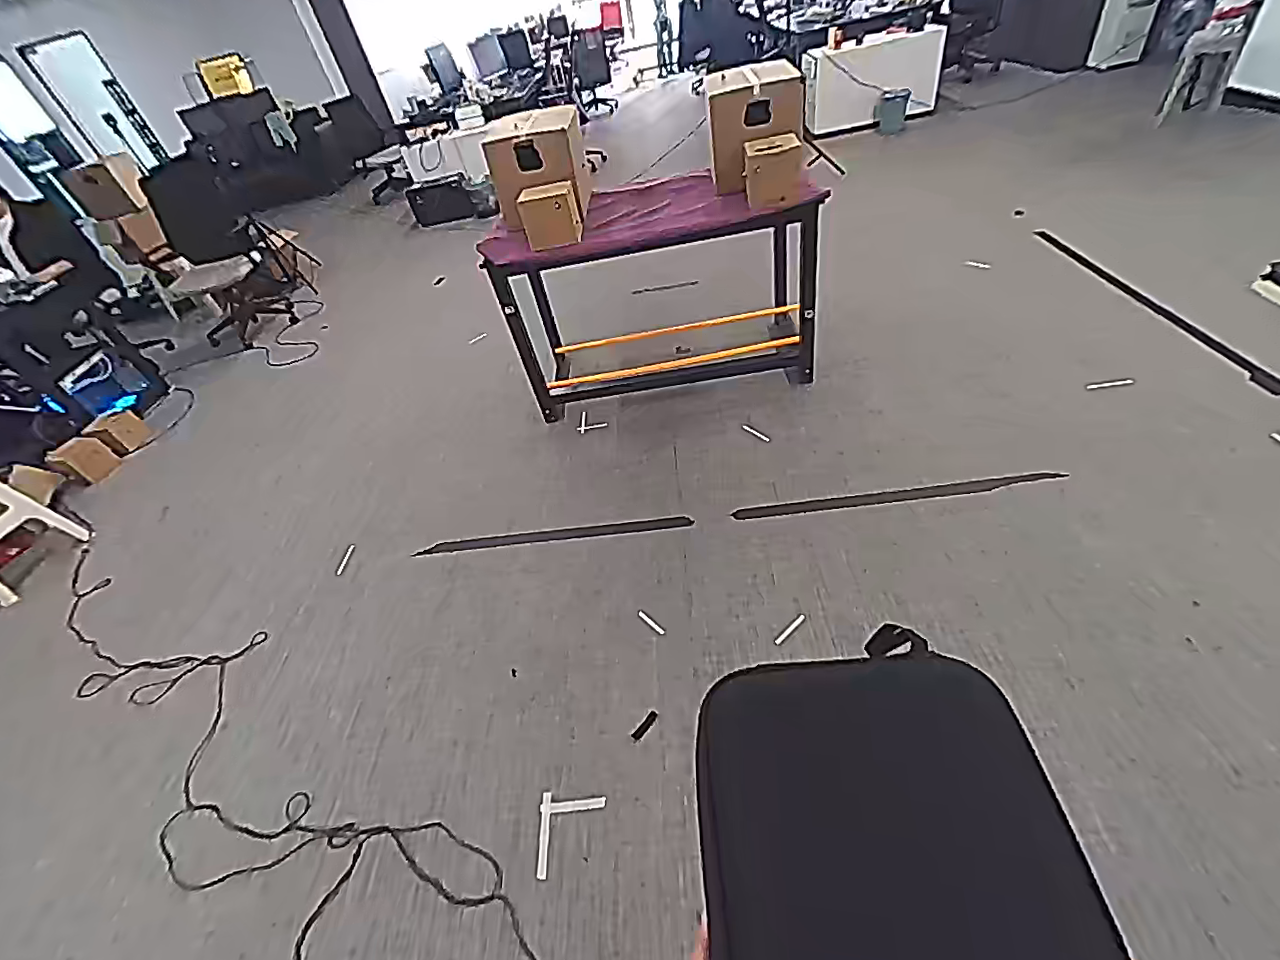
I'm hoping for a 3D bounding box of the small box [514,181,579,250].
[{"bbox_3d":[-0.326,-0.929,1.909,0.179,0.176,0.168,-8,42,6],"label":"small box"}]

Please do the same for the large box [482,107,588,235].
[{"bbox_3d":[-0.389,-1.211,2.117,0.320,0.320,0.408,-7,46,6],"label":"large box"}]
